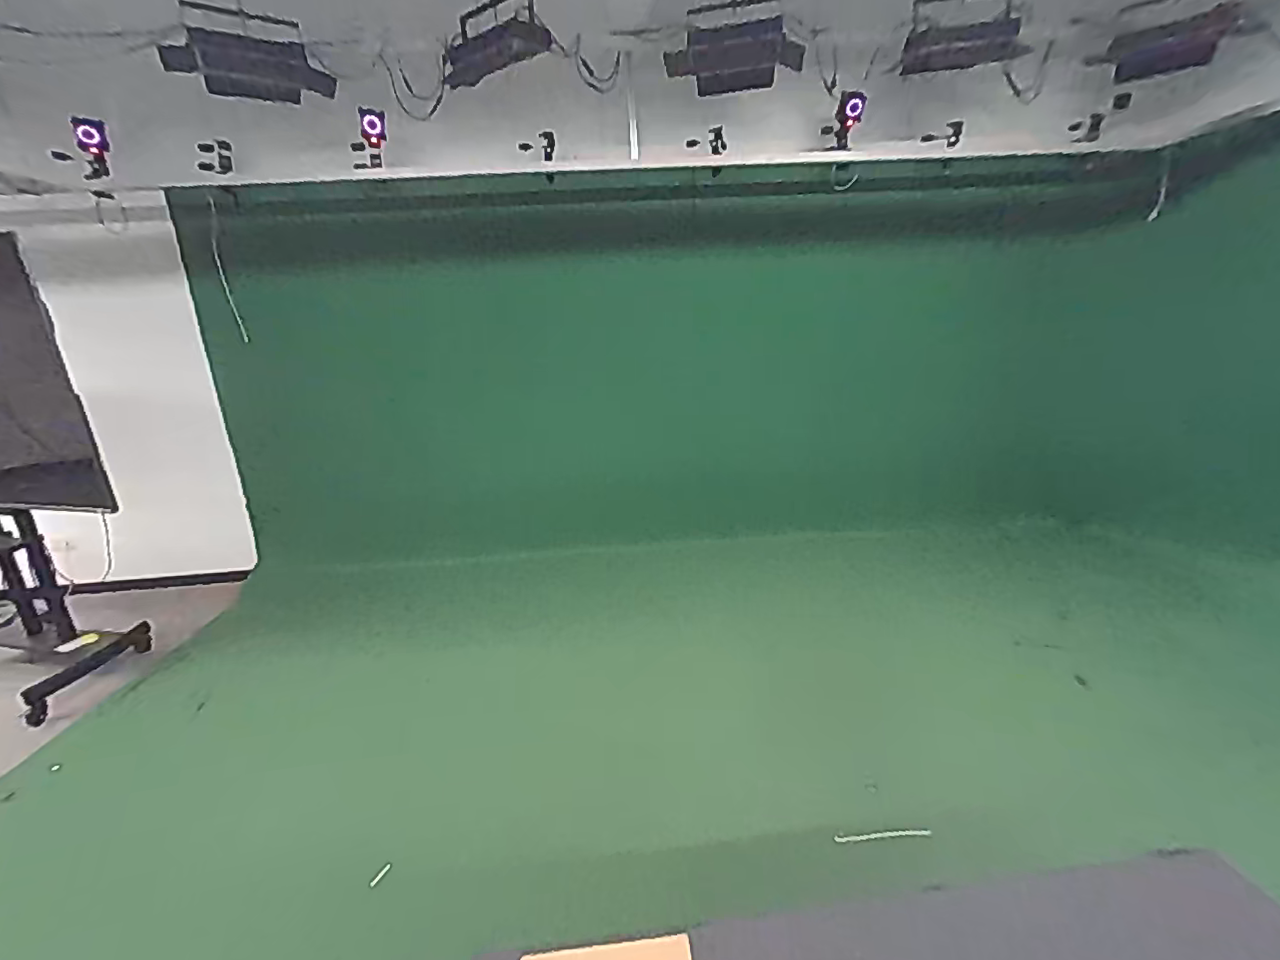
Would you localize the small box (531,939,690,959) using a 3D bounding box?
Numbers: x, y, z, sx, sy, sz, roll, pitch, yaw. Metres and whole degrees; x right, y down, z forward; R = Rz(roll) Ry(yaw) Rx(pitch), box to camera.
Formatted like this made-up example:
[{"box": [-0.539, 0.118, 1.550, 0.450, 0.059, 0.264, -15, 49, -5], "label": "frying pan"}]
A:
[{"box": [-0.024, 0.551, 0.456, 0.168, 0.176, 0.179, -3, 14, -5], "label": "small box"}]
